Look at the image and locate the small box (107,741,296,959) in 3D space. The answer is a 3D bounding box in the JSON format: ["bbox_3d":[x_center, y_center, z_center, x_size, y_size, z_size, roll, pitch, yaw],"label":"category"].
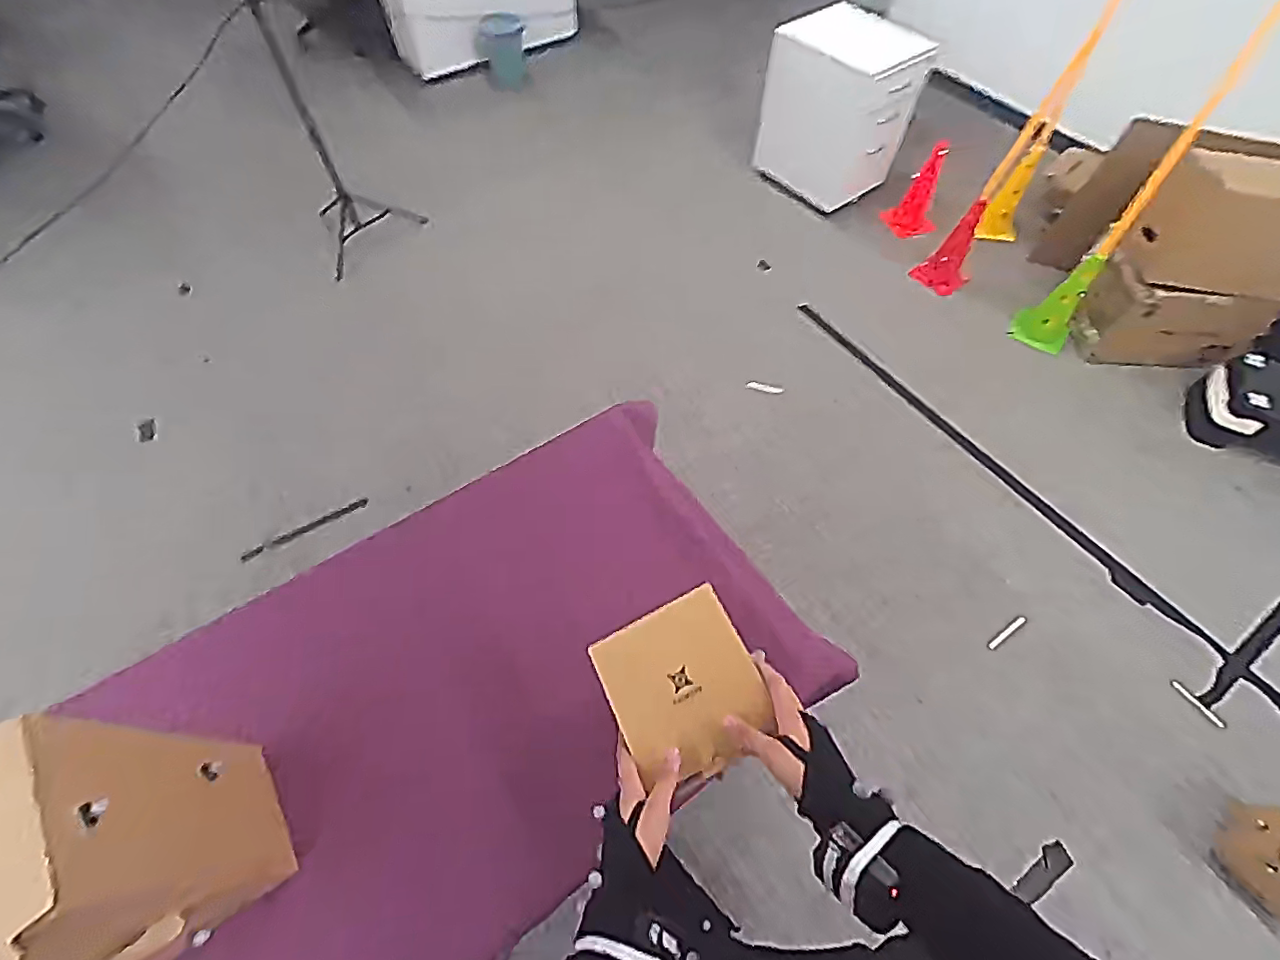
[{"bbox_3d":[-0.539,0.435,0.619,0.168,0.176,0.179,-31,64,-17],"label":"small box"}]

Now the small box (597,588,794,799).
[{"bbox_3d":[0.070,0.268,0.669,0.168,0.176,0.179,-28,59,-2],"label":"small box"}]

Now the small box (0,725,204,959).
[{"bbox_3d":[-0.540,0.351,0.478,0.168,0.176,0.179,-35,65,-19],"label":"small box"}]
